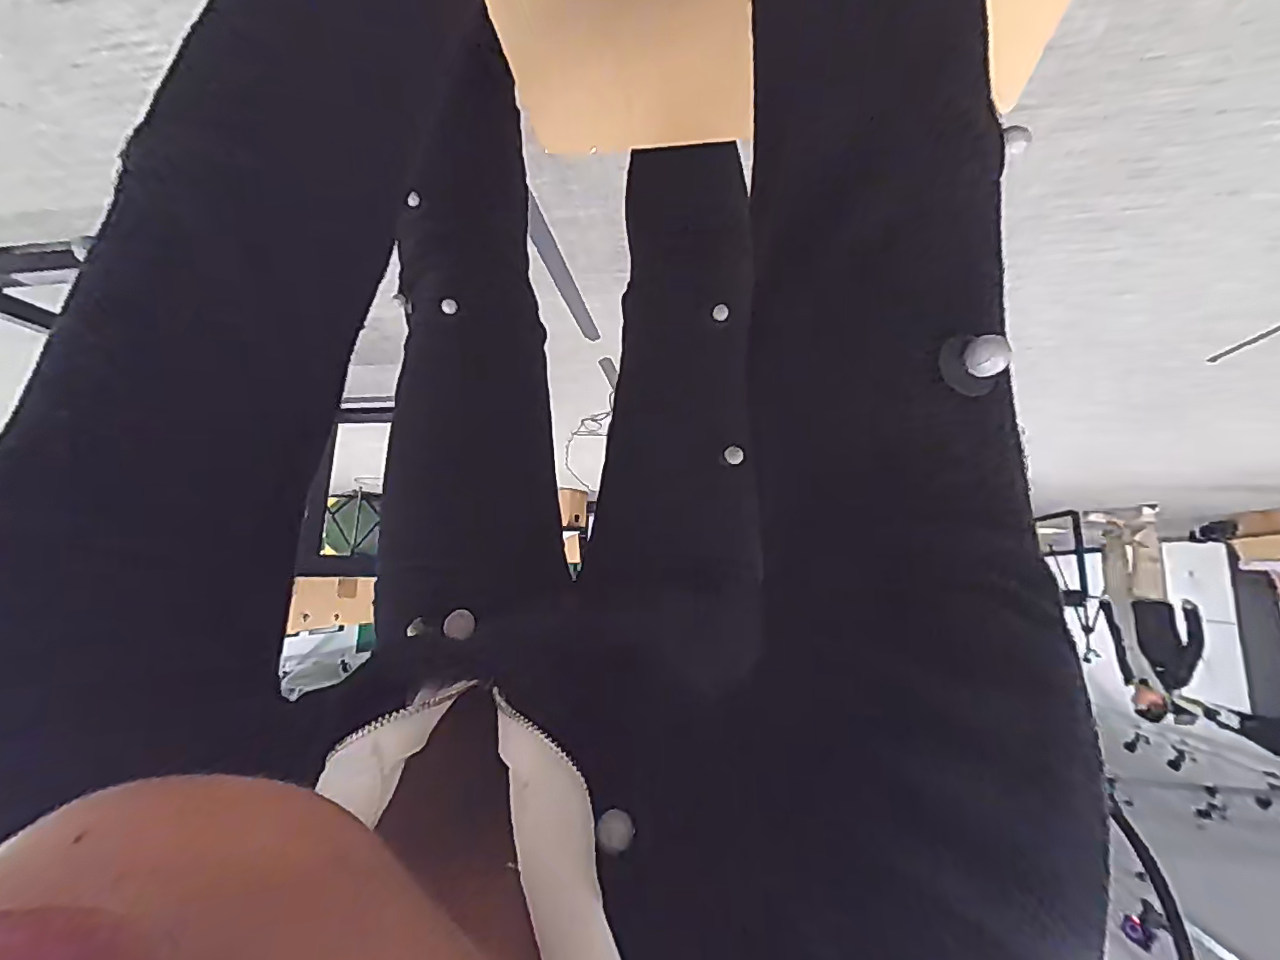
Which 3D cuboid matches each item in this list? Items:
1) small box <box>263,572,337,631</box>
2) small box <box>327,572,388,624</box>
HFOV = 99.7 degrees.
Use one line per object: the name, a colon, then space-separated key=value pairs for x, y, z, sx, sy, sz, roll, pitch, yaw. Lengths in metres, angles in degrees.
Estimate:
small box: x=-1.087 y=0.377 z=1.695 sx=0.168 sy=0.176 sz=0.179 roll=1 pitch=170 yaw=8
small box: x=-1.043 y=0.425 z=1.961 sx=0.168 sy=0.176 sz=0.179 roll=0 pitch=170 yaw=12
